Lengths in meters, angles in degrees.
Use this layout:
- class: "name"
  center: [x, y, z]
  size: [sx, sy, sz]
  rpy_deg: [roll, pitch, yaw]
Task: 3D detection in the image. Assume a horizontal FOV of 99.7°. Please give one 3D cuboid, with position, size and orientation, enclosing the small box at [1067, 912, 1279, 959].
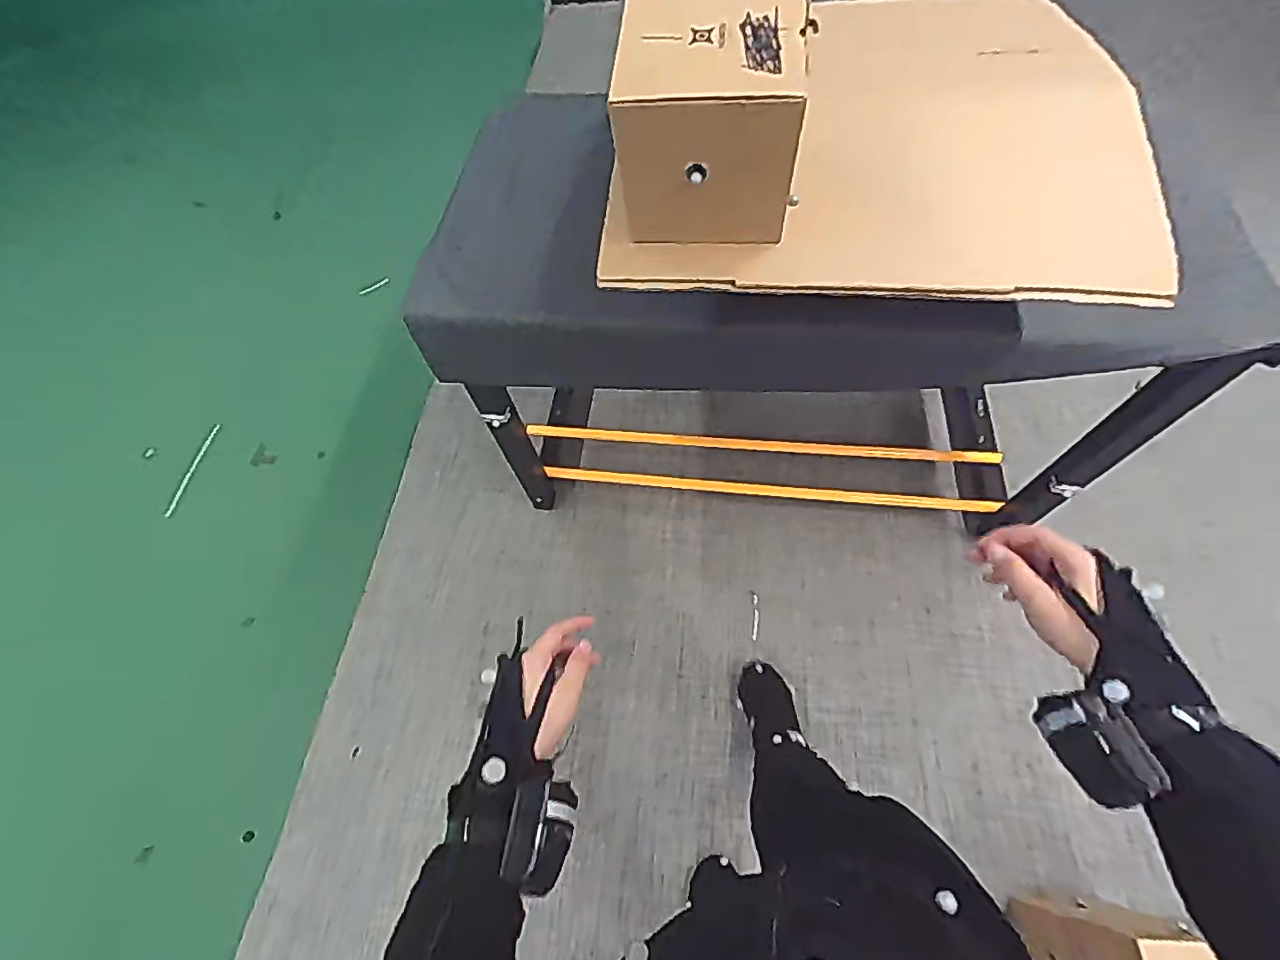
- class: "small box"
  center: [0.759, 0.723, 0.754]
  size: [0.179, 0.176, 0.168]
  rpy_deg: [-2, 60, 5]

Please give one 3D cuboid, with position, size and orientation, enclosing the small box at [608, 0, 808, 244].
- class: "small box"
  center: [0.074, -0.374, 0.576]
  size: [0.179, 0.176, 0.168]
  rpy_deg: [4, 70, 9]

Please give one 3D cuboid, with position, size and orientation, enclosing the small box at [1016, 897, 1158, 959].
- class: "small box"
  center: [0.766, 0.810, 0.893]
  size: [0.168, 0.176, 0.179]
  rpy_deg: [-1, 61, 5]
